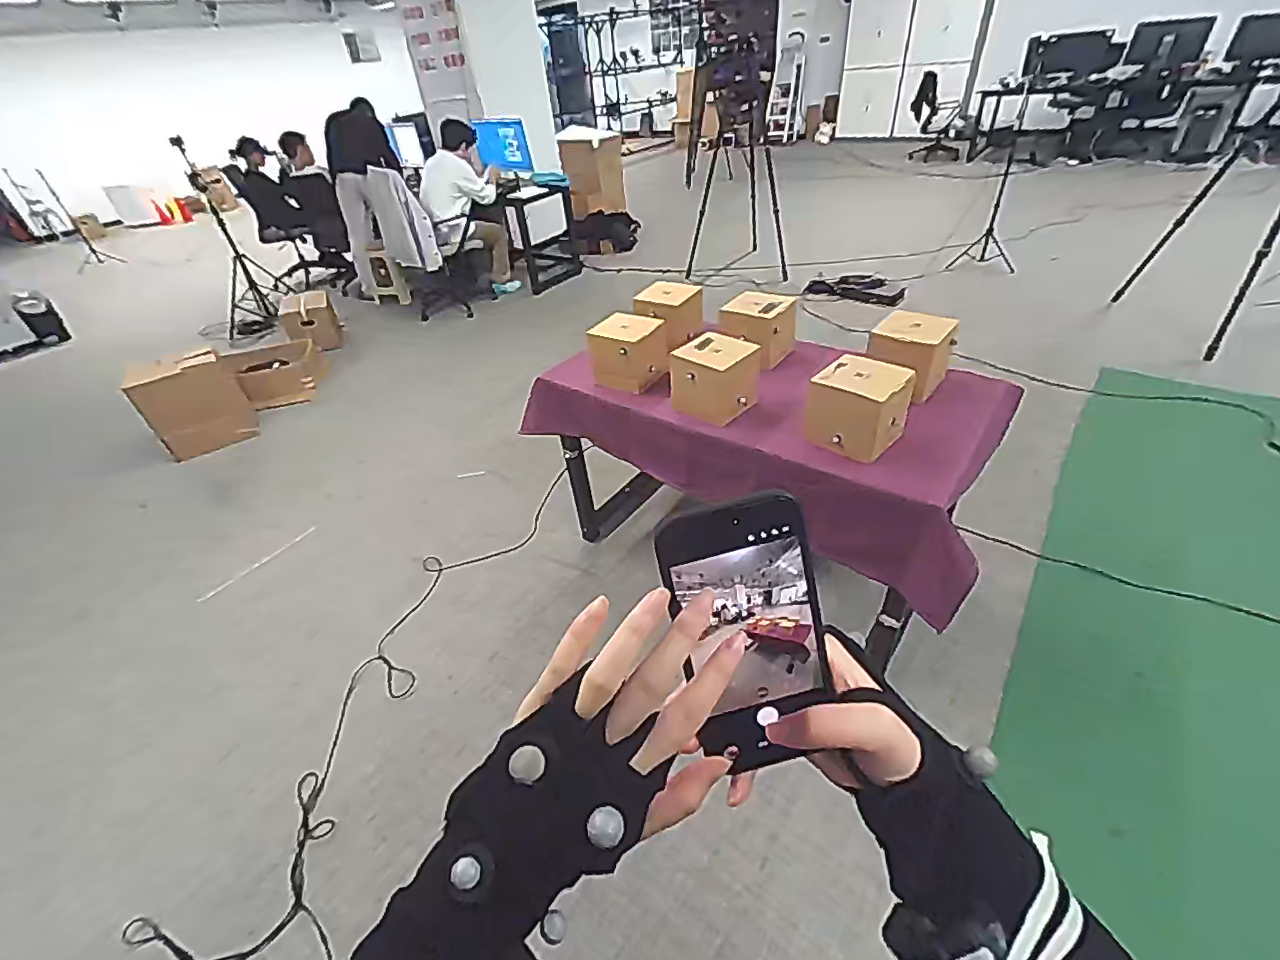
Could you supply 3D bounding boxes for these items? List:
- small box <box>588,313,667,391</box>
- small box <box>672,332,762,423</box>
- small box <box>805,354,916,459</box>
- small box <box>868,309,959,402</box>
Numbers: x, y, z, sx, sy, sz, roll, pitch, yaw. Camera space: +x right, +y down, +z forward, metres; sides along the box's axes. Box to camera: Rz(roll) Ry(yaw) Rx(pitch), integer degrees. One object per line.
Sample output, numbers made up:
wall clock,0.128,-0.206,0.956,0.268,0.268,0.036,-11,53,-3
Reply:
small box,-0.032,-0.386,1.628,0.179,0.176,0.168,19,45,27
small box,0.205,-0.275,1.454,0.179,0.176,0.168,29,50,35
small box,0.515,-0.172,1.278,0.168,0.176,0.179,-34,46,-31
small box,0.720,-0.334,1.450,0.168,0.176,0.179,25,49,35
